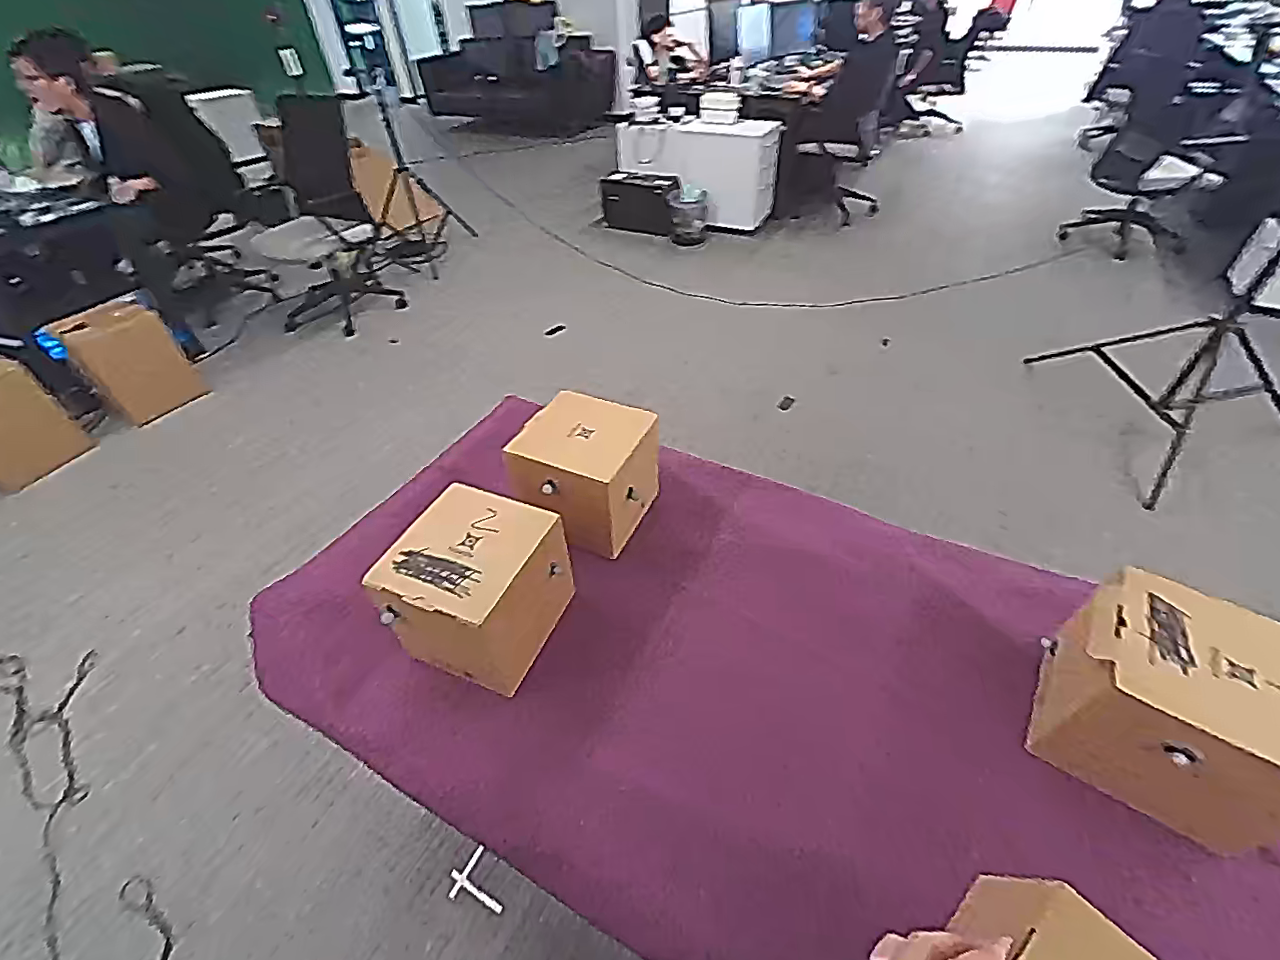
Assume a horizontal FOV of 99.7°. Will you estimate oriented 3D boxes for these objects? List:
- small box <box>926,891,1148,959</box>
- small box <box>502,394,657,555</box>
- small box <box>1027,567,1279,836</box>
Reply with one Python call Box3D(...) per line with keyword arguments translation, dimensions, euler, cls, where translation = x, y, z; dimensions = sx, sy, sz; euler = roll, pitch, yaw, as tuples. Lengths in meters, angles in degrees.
Box3D(translation=(0.255, 0.371, 0.302), dimensions=(0.168, 0.176, 0.179), euler=(-42, 55, -15), cls="small box")
Box3D(translation=(-0.083, -0.006, 0.850), dimensions=(0.179, 0.176, 0.168), euler=(17, 47, 19), cls="small box")
Box3D(translation=(0.544, 0.230, 0.563), dimensions=(0.179, 0.176, 0.168), euler=(25, 52, 25), cls="small box")
